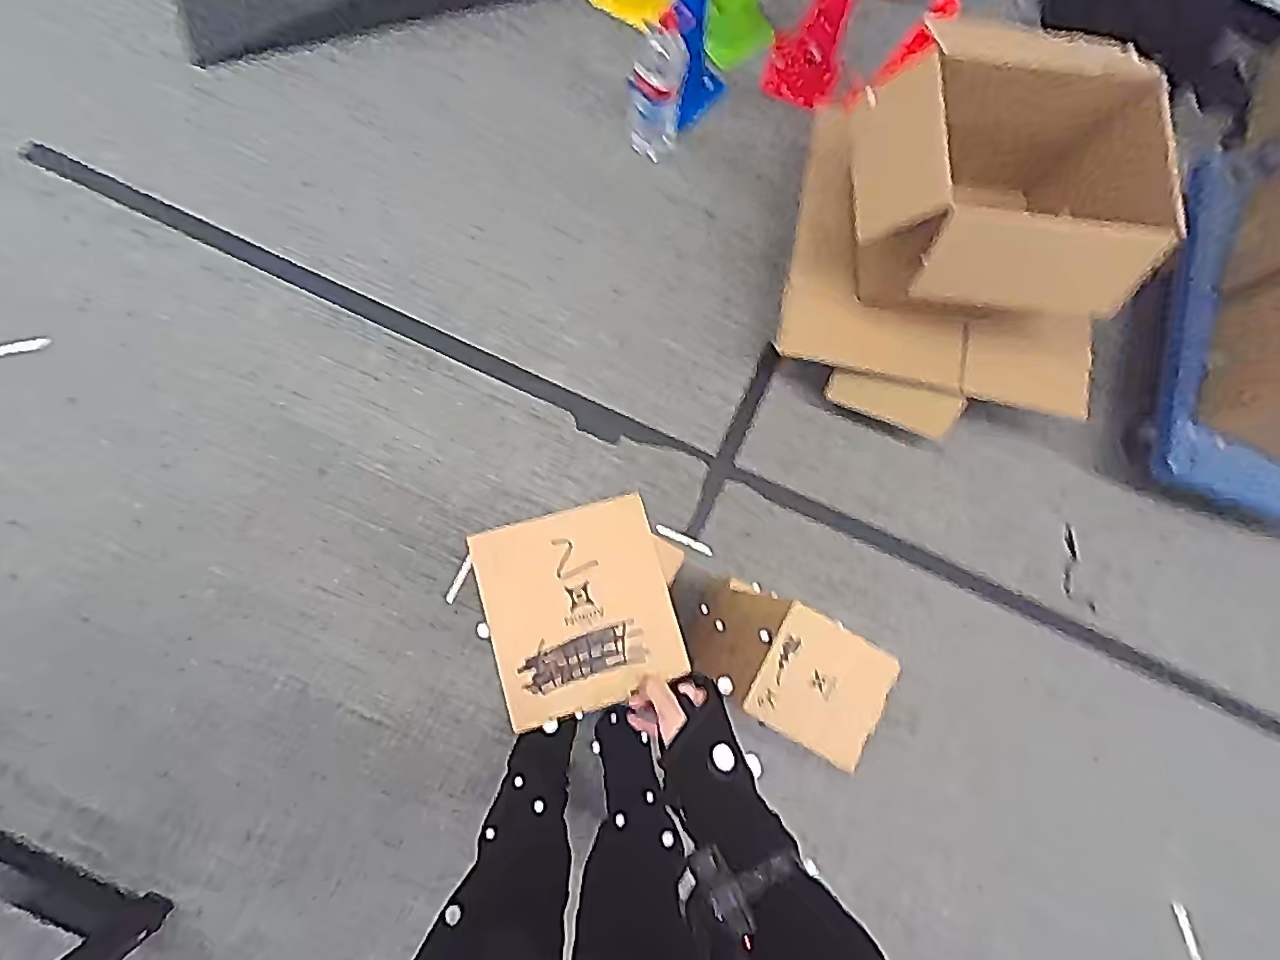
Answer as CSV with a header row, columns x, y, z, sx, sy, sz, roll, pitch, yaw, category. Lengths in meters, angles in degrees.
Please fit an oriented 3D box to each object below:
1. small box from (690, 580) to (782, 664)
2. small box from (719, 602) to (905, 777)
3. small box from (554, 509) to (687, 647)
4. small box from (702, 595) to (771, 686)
x,y,z,sx,sy,sz,roll,pitch,yaw,category
0.217,0.324,1.137,0.168,0.176,0.179,25,79,-2,small box
0.245,0.295,0.810,0.179,0.176,0.168,31,80,-2,small box
-0.038,0.173,0.971,0.168,0.176,0.179,30,78,-2,small box
0.230,0.317,0.972,0.179,0.176,0.168,28,80,-2,small box
